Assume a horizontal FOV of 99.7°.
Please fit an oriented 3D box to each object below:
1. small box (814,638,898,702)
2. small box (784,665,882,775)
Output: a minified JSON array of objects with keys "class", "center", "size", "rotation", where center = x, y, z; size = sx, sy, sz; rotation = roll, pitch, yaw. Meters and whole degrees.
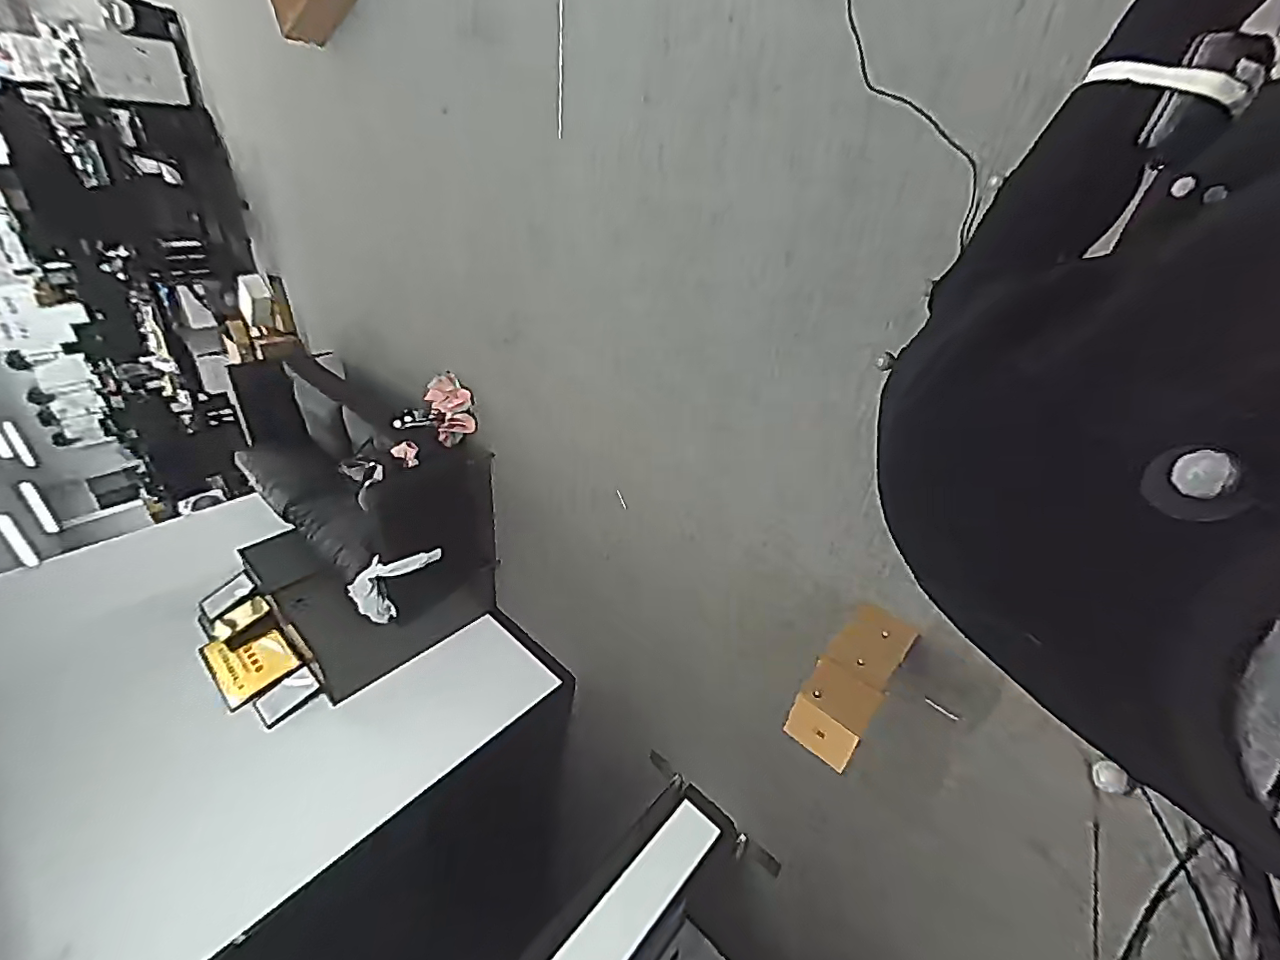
[{"class":"small box","center":[0.620,0.591,1.581],"size":[0.179,0.176,0.168],"rotation":[27,127,32]},{"class":"small box","center":[0.522,0.639,1.460],"size":[0.179,0.176,0.168],"rotation":[30,129,33]}]
